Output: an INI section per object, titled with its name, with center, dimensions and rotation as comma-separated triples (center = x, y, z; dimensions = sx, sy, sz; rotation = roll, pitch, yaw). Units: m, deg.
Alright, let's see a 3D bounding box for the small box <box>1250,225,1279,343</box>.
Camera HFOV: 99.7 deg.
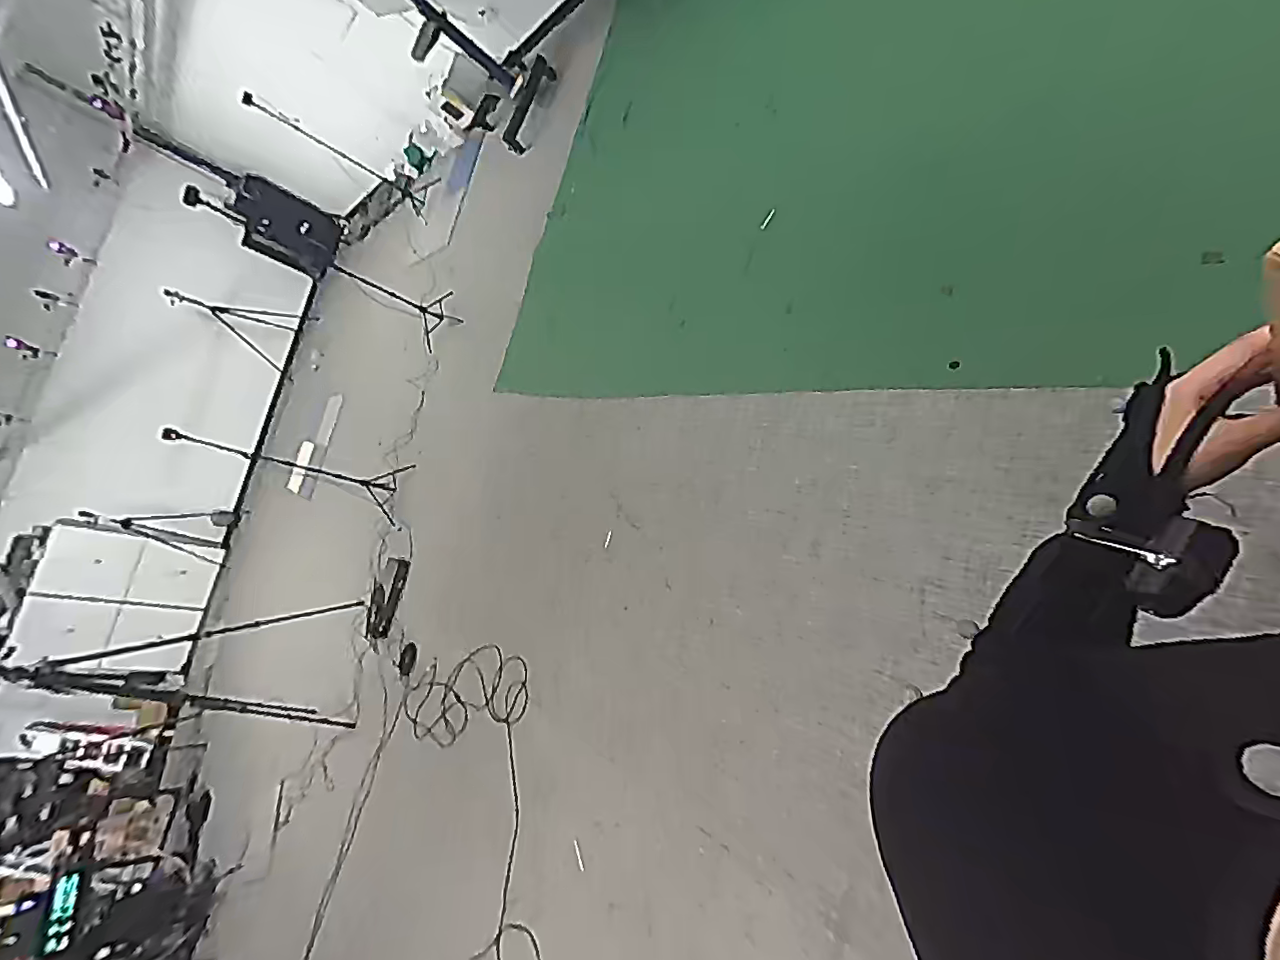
[small box]
center = 0.451, -0.080, 0.239
dimensions = 0.179, 0.176, 0.168
rotation = -38, 41, 30
